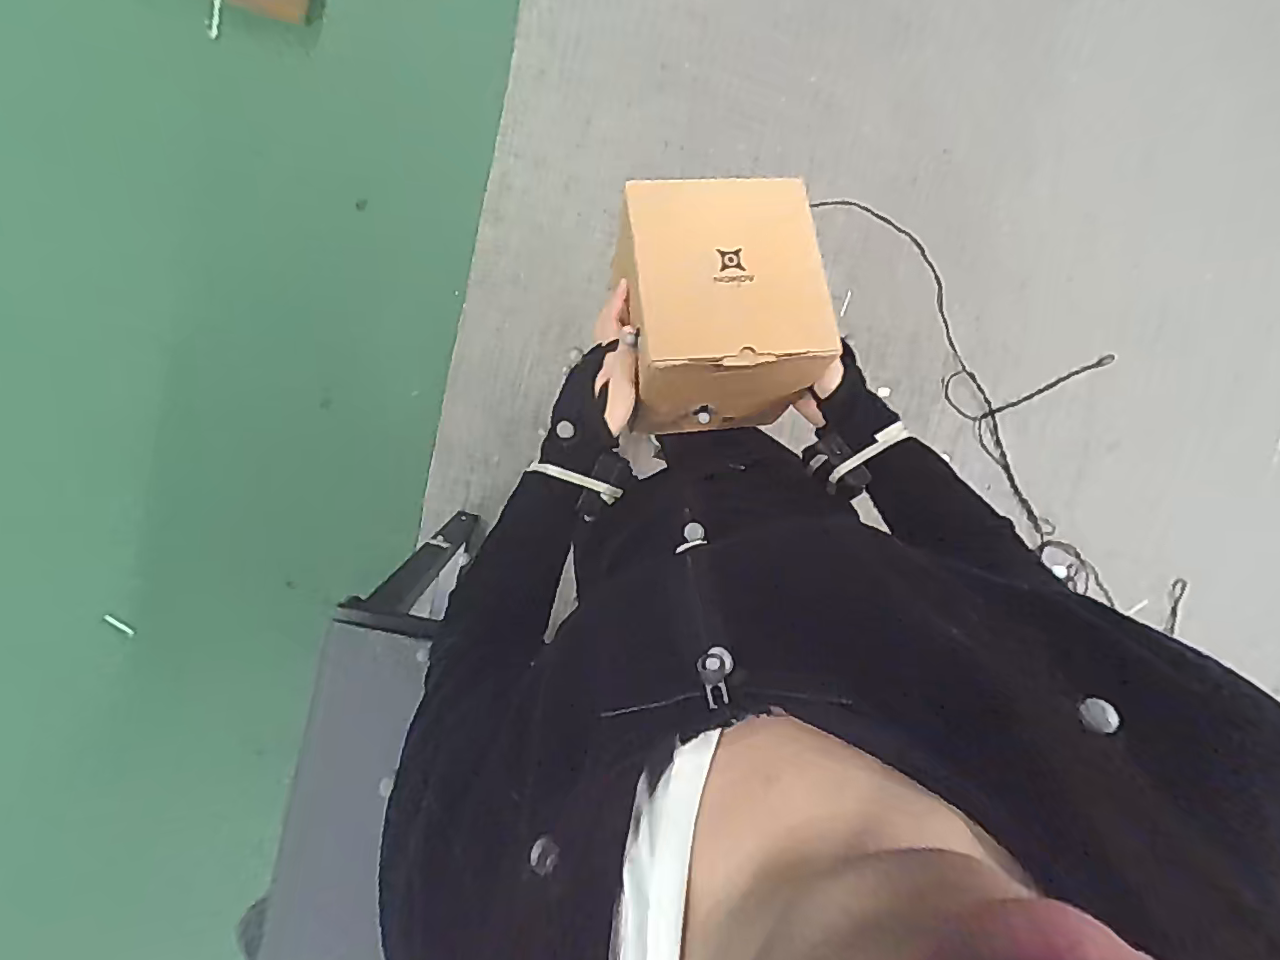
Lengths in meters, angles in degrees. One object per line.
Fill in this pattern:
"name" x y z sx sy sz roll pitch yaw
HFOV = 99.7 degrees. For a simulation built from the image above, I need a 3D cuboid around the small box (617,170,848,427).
"small box" 0.071 -0.164 0.526 0.168 0.176 0.179 -5 77 -8
